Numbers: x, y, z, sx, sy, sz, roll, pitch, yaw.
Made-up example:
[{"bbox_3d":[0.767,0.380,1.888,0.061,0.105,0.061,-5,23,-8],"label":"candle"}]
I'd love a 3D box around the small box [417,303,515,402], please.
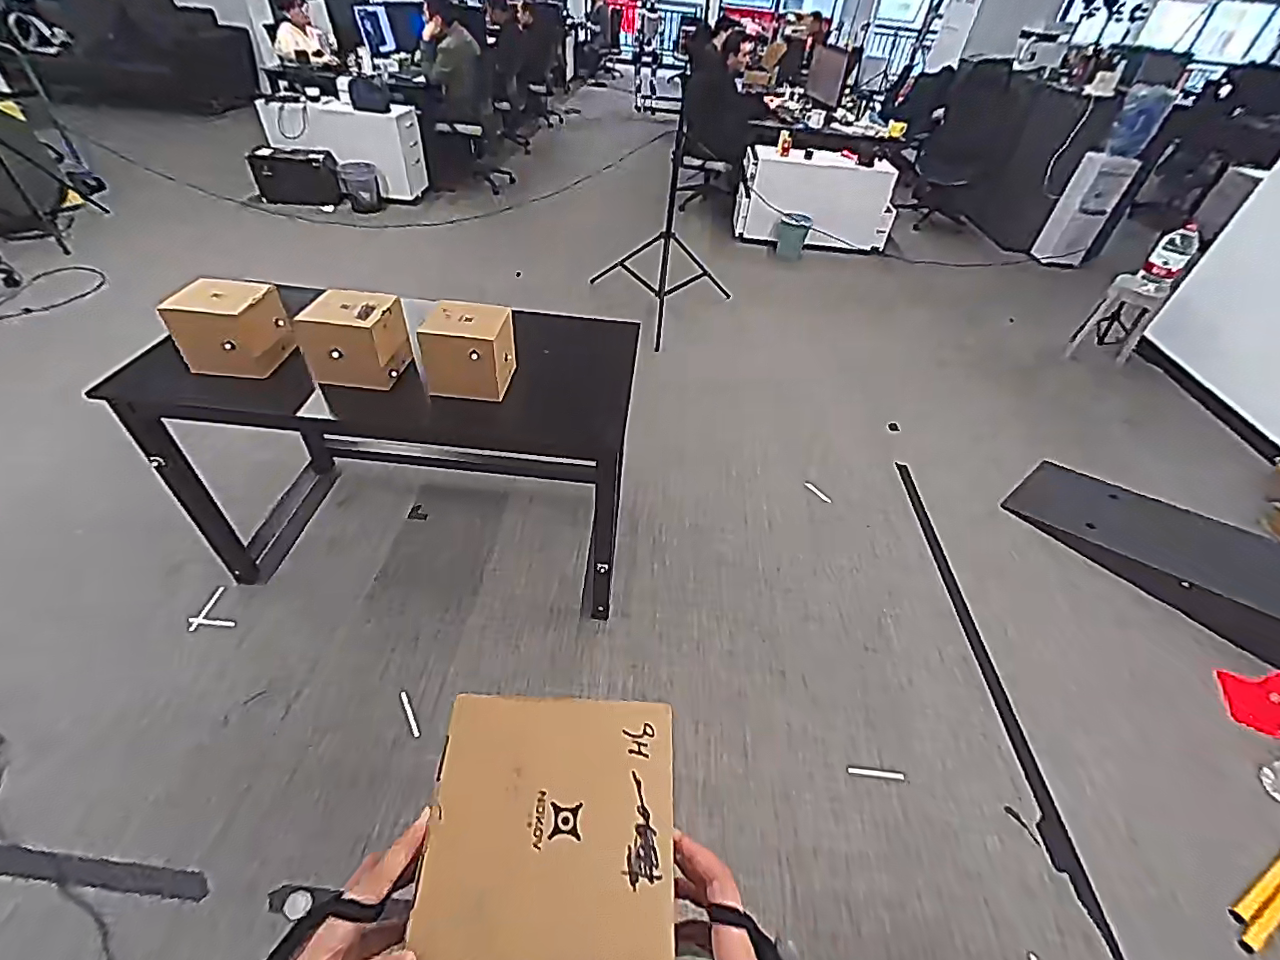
[{"bbox_3d":[-0.409,-0.306,1.309,0.179,0.176,0.168,5,42,0],"label":"small box"}]

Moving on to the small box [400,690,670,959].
[{"bbox_3d":[-0.073,0.286,0.456,0.179,0.176,0.168,4,55,-5],"label":"small box"}]

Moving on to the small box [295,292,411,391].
[{"bbox_3d":[-0.679,-0.331,1.307,0.179,0.176,0.168,6,43,1],"label":"small box"}]

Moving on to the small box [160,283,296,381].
[{"bbox_3d":[-0.973,-0.353,1.299,0.179,0.176,0.168,4,42,-2],"label":"small box"}]
